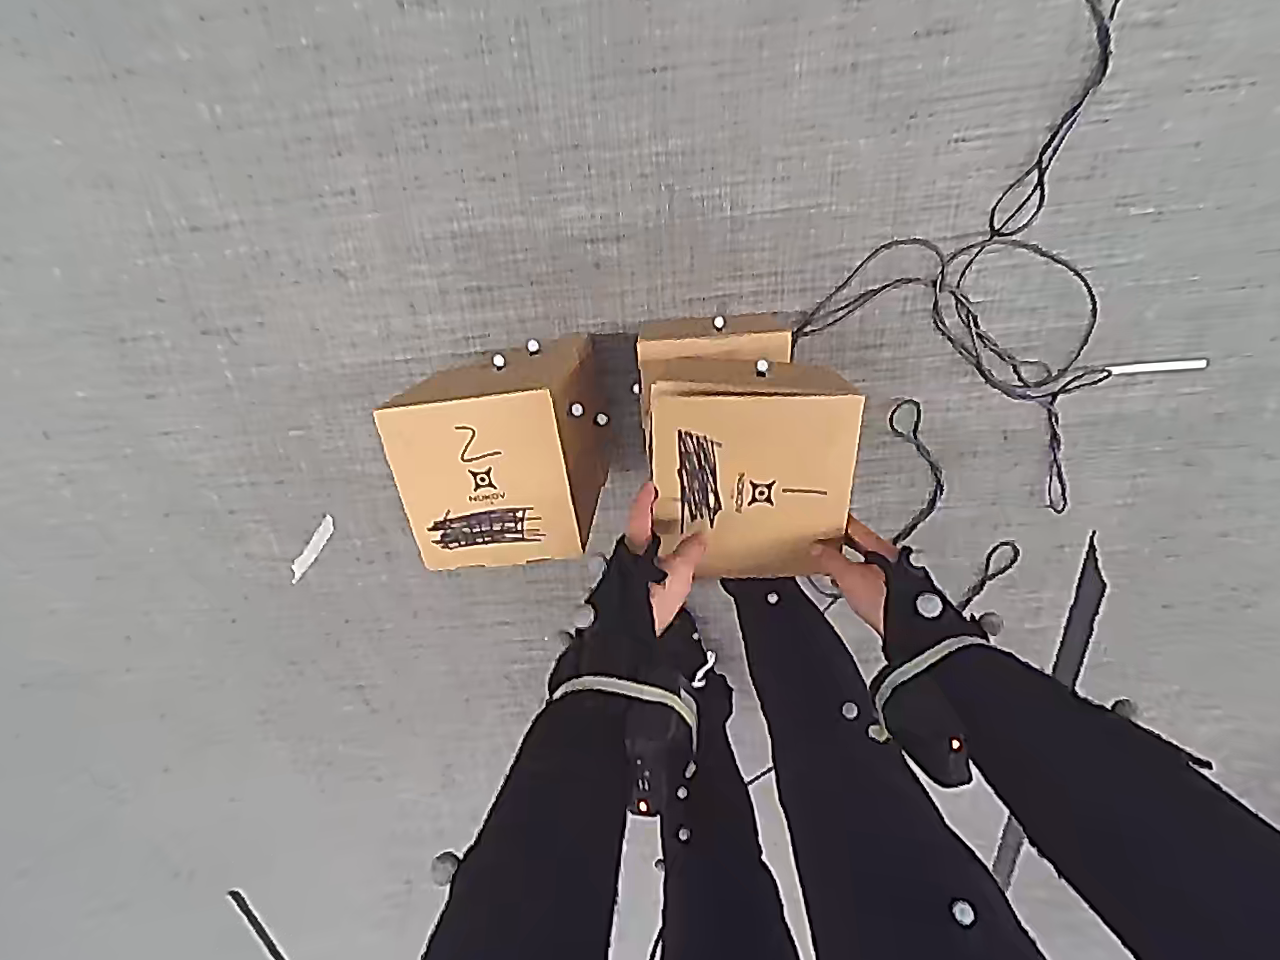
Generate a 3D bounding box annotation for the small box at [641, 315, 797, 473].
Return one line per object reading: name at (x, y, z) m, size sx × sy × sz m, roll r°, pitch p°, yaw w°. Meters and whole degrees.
small box at (0.094, -0.118, 0.703) m, size 0.179 × 0.176 × 0.168 m, roll -2°, pitch 113°, yaw 4°

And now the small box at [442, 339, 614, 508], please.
small box at (-0.136, -0.086, 0.731) m, size 0.168 × 0.176 × 0.179 m, roll -11°, pitch 113°, yaw 7°

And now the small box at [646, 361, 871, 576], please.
small box at (0.108, -0.025, 0.539) m, size 0.179 × 0.176 × 0.168 m, roll 5°, pitch 110°, yaw 9°
